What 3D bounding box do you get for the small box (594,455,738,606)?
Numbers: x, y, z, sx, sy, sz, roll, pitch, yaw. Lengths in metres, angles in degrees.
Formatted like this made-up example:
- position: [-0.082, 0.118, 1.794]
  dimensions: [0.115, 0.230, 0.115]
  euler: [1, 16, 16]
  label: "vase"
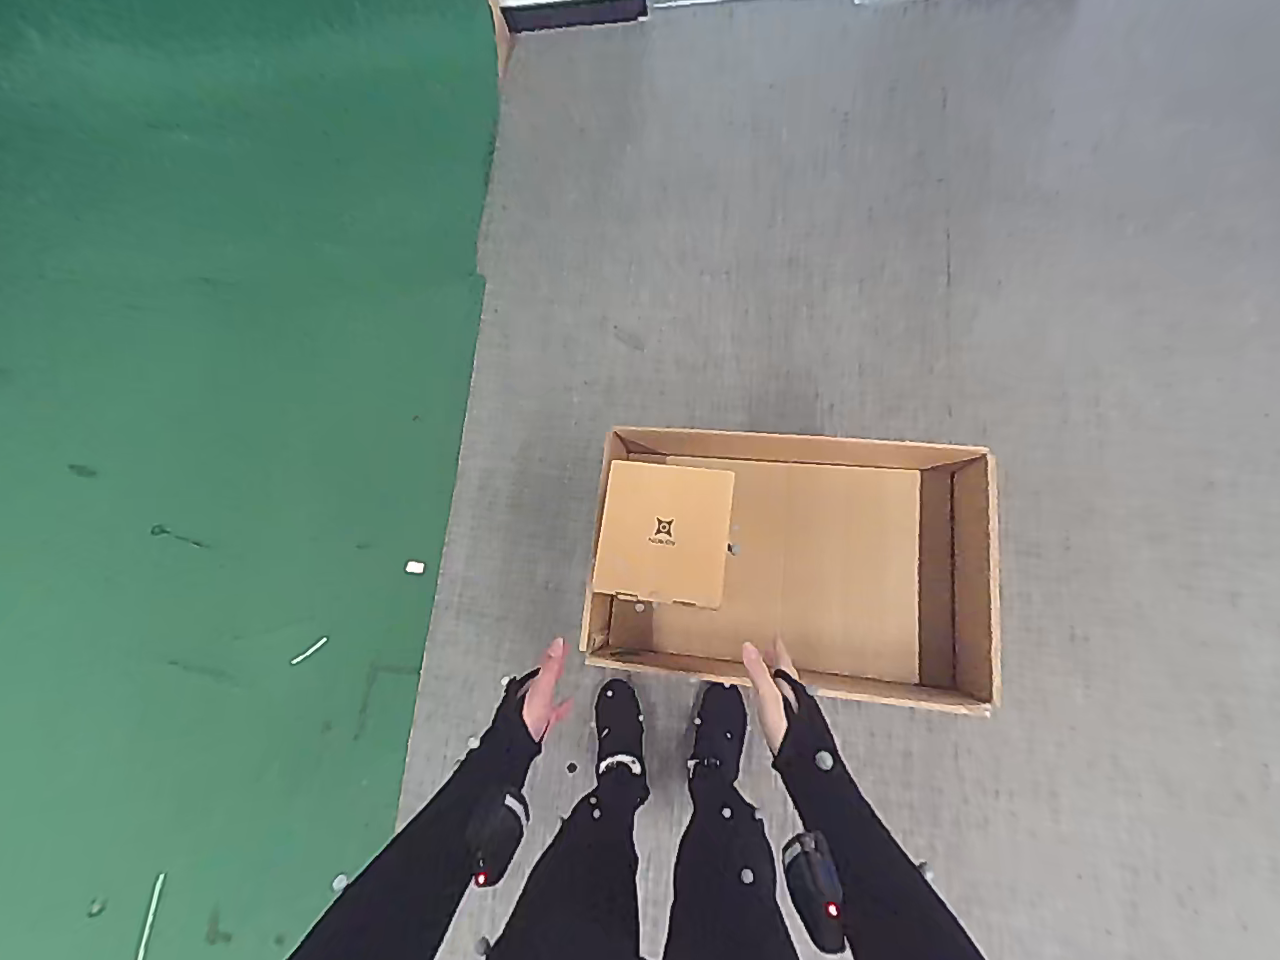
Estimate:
- position: [0.044, 0.078, 0.766]
  dimensions: [0.168, 0.176, 0.179]
  euler: [7, 79, 10]
  label: "small box"
